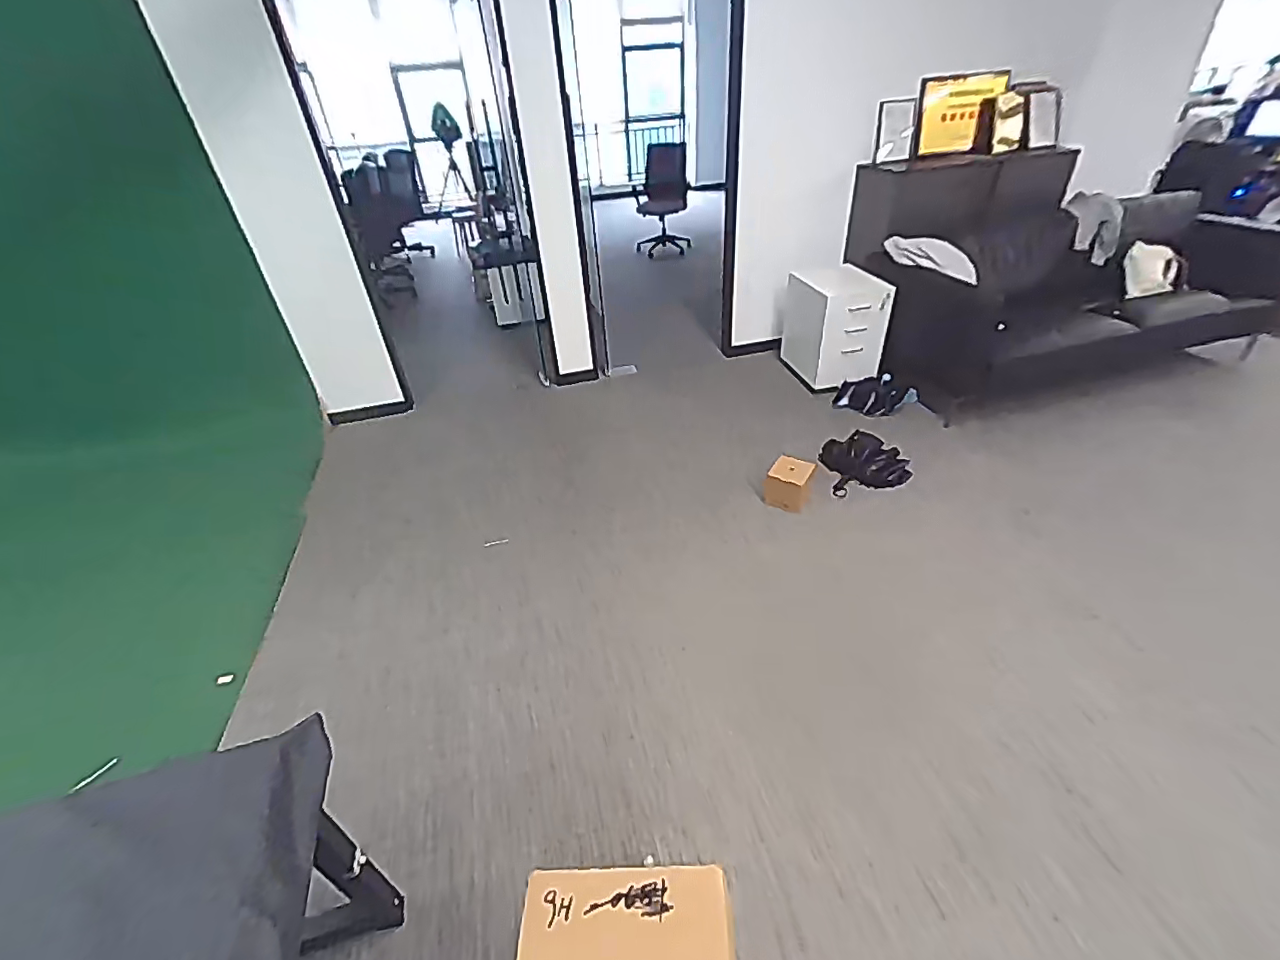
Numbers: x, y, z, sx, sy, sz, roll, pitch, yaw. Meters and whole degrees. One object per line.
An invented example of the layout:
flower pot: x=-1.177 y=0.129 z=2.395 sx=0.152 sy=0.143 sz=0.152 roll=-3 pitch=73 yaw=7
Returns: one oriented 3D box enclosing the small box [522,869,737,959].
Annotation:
small box: x=-0.001 y=0.440 z=0.434 sx=0.168 sy=0.176 sz=0.179 roll=-4 pitch=39 yaw=5
